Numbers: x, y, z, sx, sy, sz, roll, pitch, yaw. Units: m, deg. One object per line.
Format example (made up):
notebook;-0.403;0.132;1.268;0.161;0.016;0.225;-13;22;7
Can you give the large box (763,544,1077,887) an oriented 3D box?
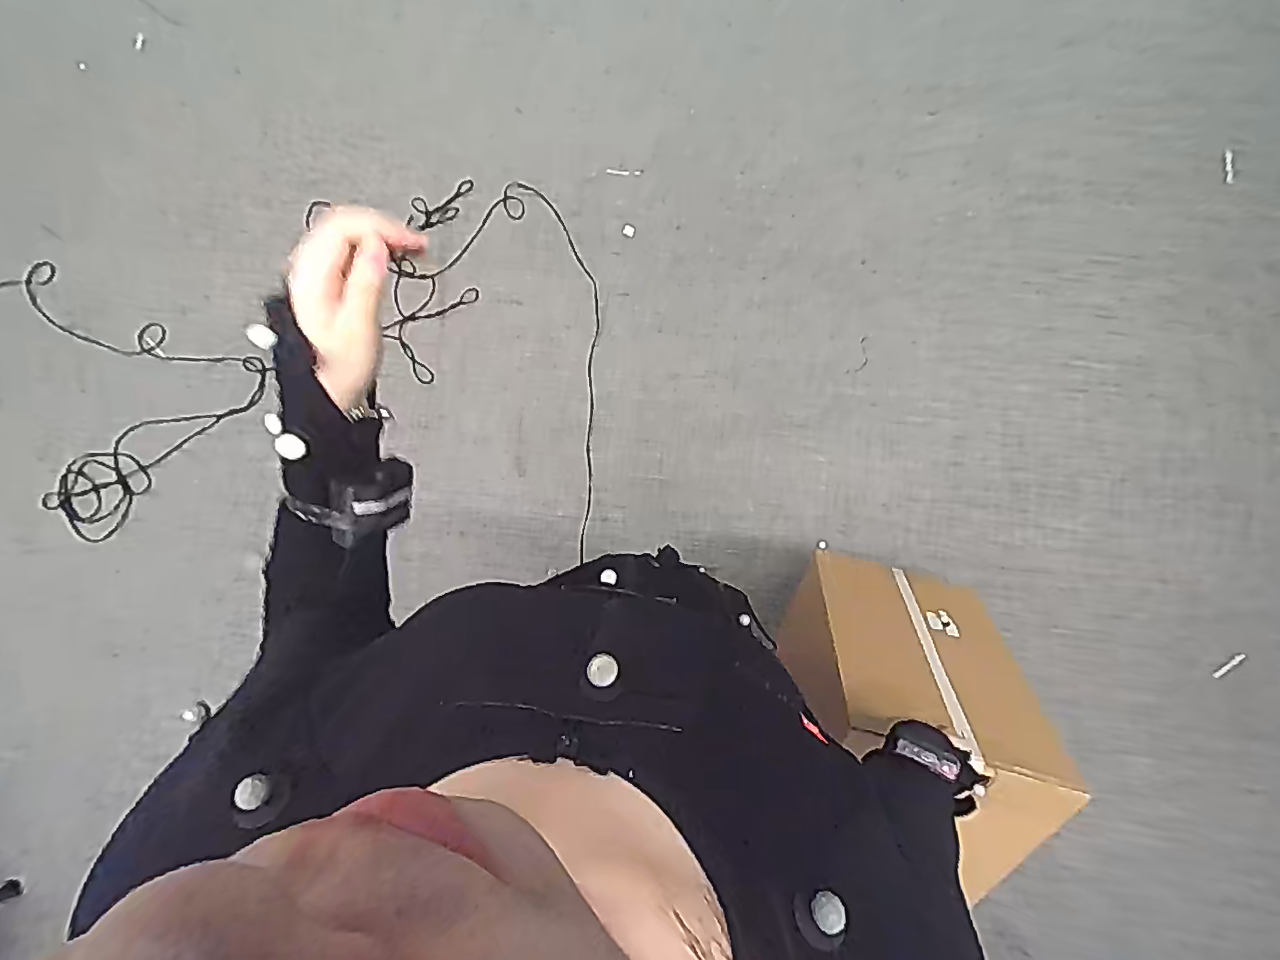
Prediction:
large box;0.411;0.378;0.933;0.320;0.408;0.320;16;119;2
